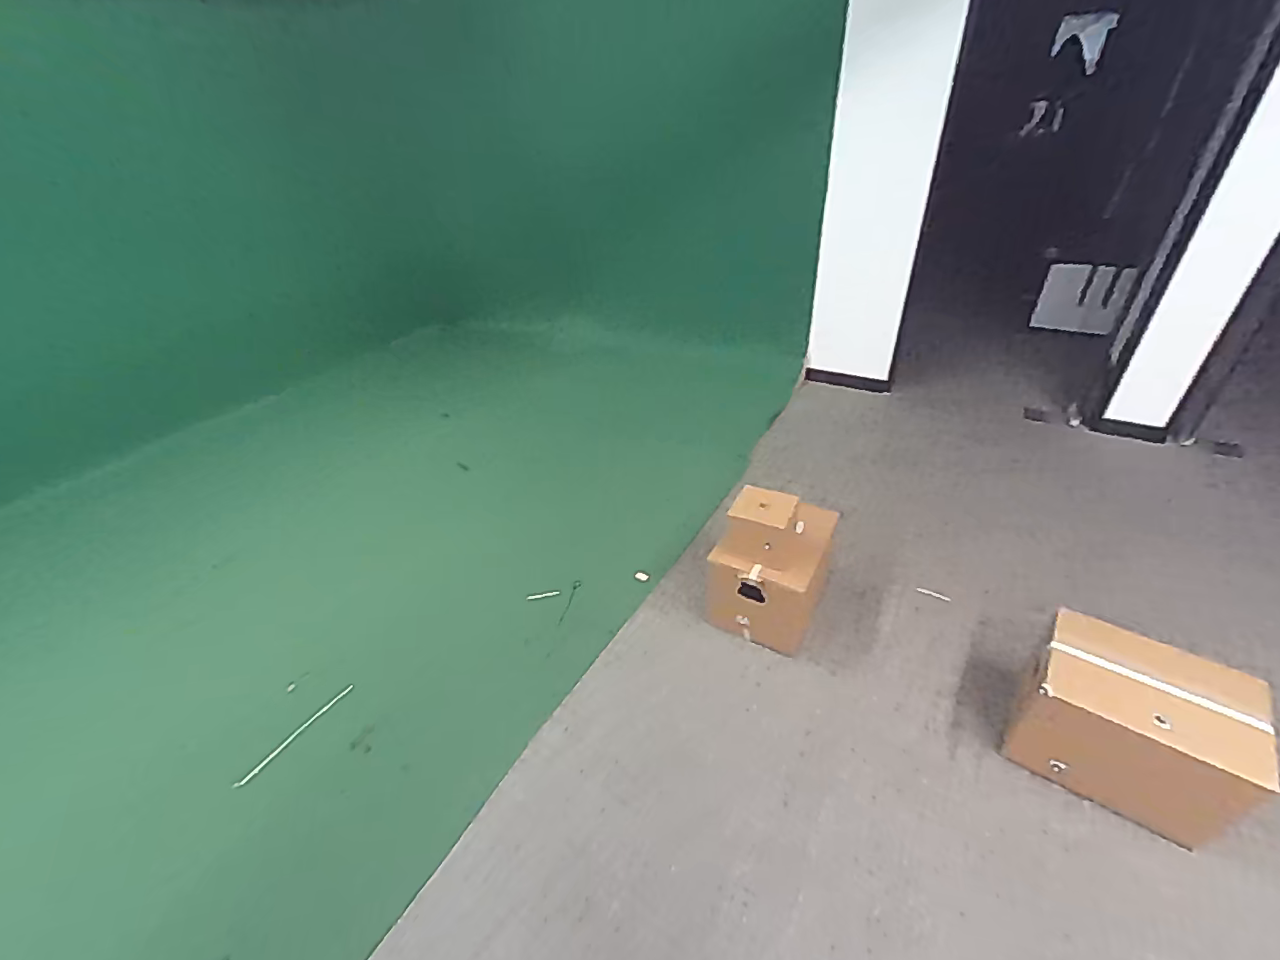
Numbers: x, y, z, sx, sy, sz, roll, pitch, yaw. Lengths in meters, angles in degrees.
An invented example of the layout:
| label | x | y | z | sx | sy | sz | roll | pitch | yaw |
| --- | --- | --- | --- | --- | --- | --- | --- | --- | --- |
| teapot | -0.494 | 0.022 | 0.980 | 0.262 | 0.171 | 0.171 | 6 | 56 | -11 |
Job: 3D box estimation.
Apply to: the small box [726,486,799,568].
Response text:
| label | x | y | z | sx | sy | sz | roll | pitch | yaw |
| --- | --- | --- | --- | --- | --- | --- | --- | --- | --- |
| small box | 0.376 | 0.147 | 1.665 | 0.179 | 0.176 | 0.168 | 14 | 39 | 27 |

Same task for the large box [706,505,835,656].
| label | x | y | z | sx | sy | sz | roll | pitch | yaw |
| --- | --- | --- | --- | --- | --- | --- | --- | --- | --- |
| large box | 0.444 | 0.312 | 1.848 | 0.320 | 0.320 | 0.408 | 17 | 40 | 27 |
